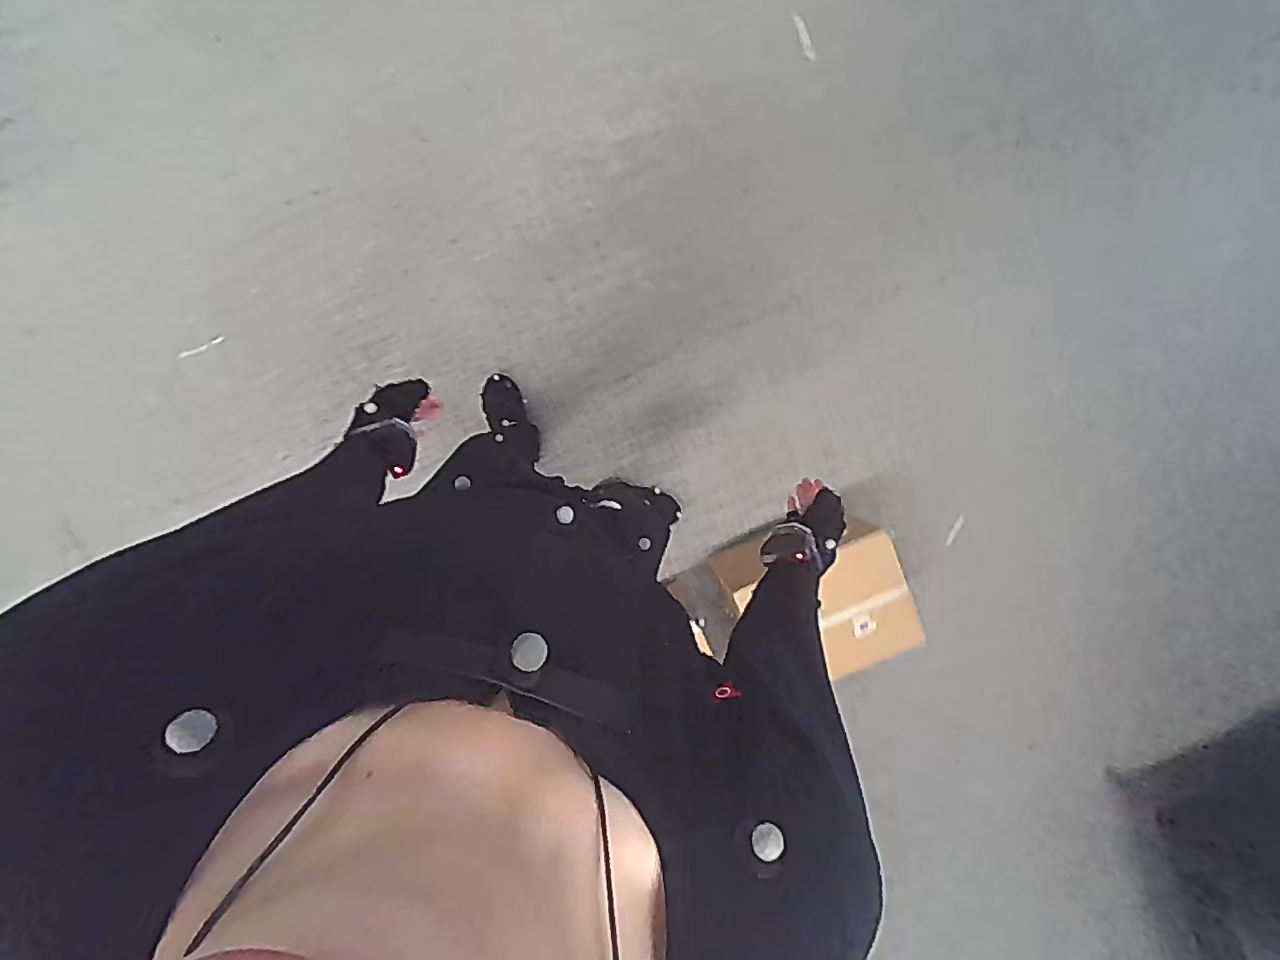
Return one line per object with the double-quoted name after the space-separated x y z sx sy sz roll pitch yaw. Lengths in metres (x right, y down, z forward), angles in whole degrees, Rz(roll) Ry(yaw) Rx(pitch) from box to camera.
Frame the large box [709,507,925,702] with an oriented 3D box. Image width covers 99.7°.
0.446 0.306 1.436 0.408 0.320 0.320 -22 99 -2 "large box"
